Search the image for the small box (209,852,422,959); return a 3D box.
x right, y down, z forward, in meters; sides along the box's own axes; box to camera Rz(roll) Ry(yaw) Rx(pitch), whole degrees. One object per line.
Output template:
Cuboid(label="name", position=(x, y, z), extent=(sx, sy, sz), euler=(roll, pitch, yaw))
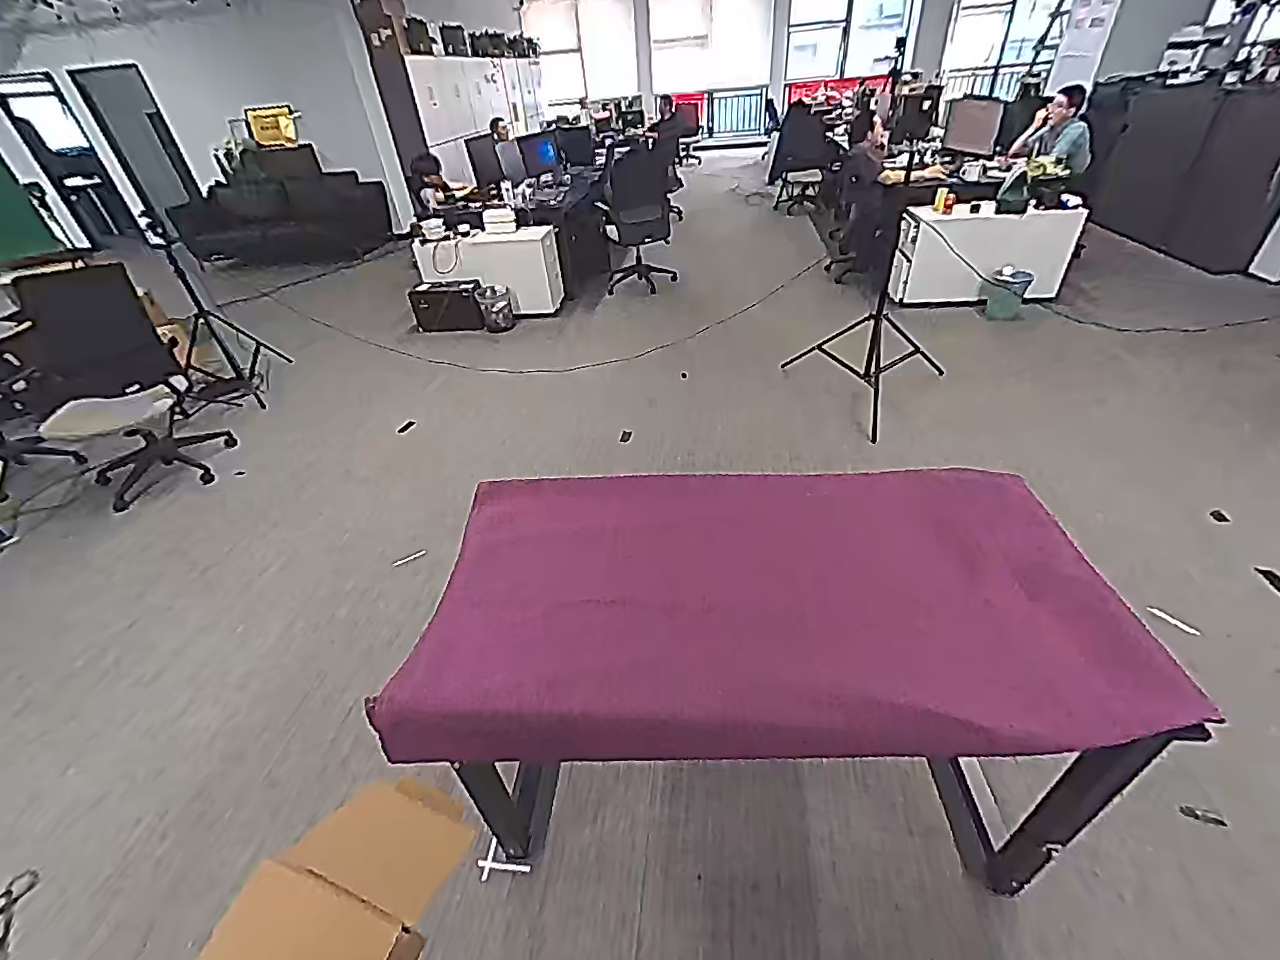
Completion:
Cuboid(label="small box", position=(-0.355, 0.544, 0.579), extent=(0.168, 0.176, 0.179), euler=(23, 47, 8))
